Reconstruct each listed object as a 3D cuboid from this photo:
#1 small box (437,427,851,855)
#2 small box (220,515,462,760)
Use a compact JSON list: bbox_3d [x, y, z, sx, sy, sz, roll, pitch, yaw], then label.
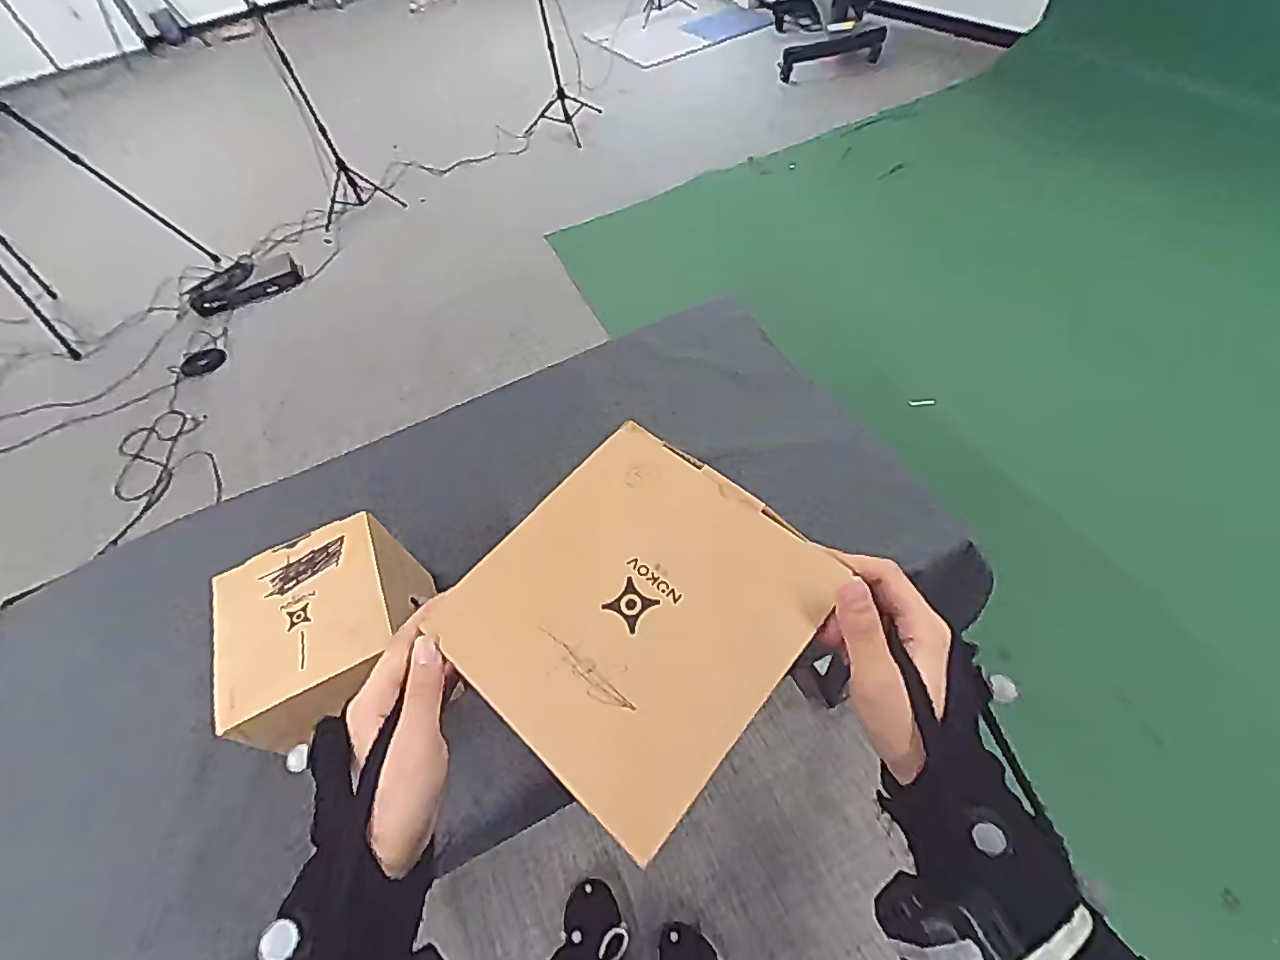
[{"bbox_3d":[0.008,0.104,0.367,0.168,0.176,0.179,35,70,23],"label":"small box"},{"bbox_3d":[-0.322,0.178,0.602,0.168,0.176,0.179,-26,54,-10],"label":"small box"}]
